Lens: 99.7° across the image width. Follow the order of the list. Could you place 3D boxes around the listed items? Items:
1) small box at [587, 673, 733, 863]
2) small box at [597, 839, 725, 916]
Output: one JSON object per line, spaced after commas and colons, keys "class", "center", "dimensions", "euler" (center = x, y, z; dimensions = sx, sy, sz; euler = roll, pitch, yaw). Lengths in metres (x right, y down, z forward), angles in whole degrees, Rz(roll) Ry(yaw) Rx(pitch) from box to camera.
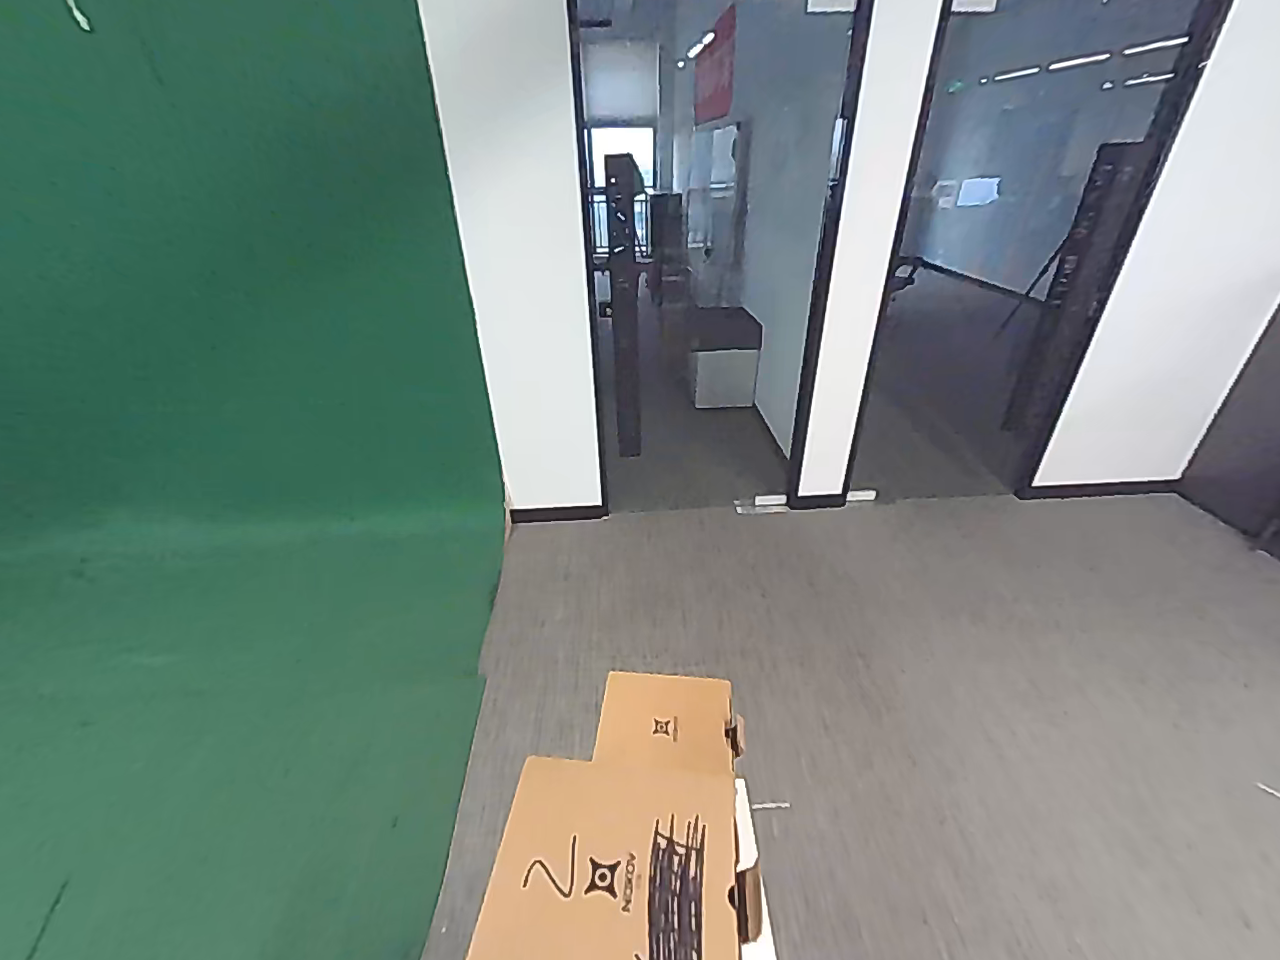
{"class": "small box", "center": [0.032, 0.392, 0.742], "dimensions": [0.179, 0.176, 0.168], "euler": [3, 31, 5]}
{"class": "small box", "center": [0.039, 0.530, 0.828], "dimensions": [0.179, 0.176, 0.168], "euler": [2, 31, 6]}
